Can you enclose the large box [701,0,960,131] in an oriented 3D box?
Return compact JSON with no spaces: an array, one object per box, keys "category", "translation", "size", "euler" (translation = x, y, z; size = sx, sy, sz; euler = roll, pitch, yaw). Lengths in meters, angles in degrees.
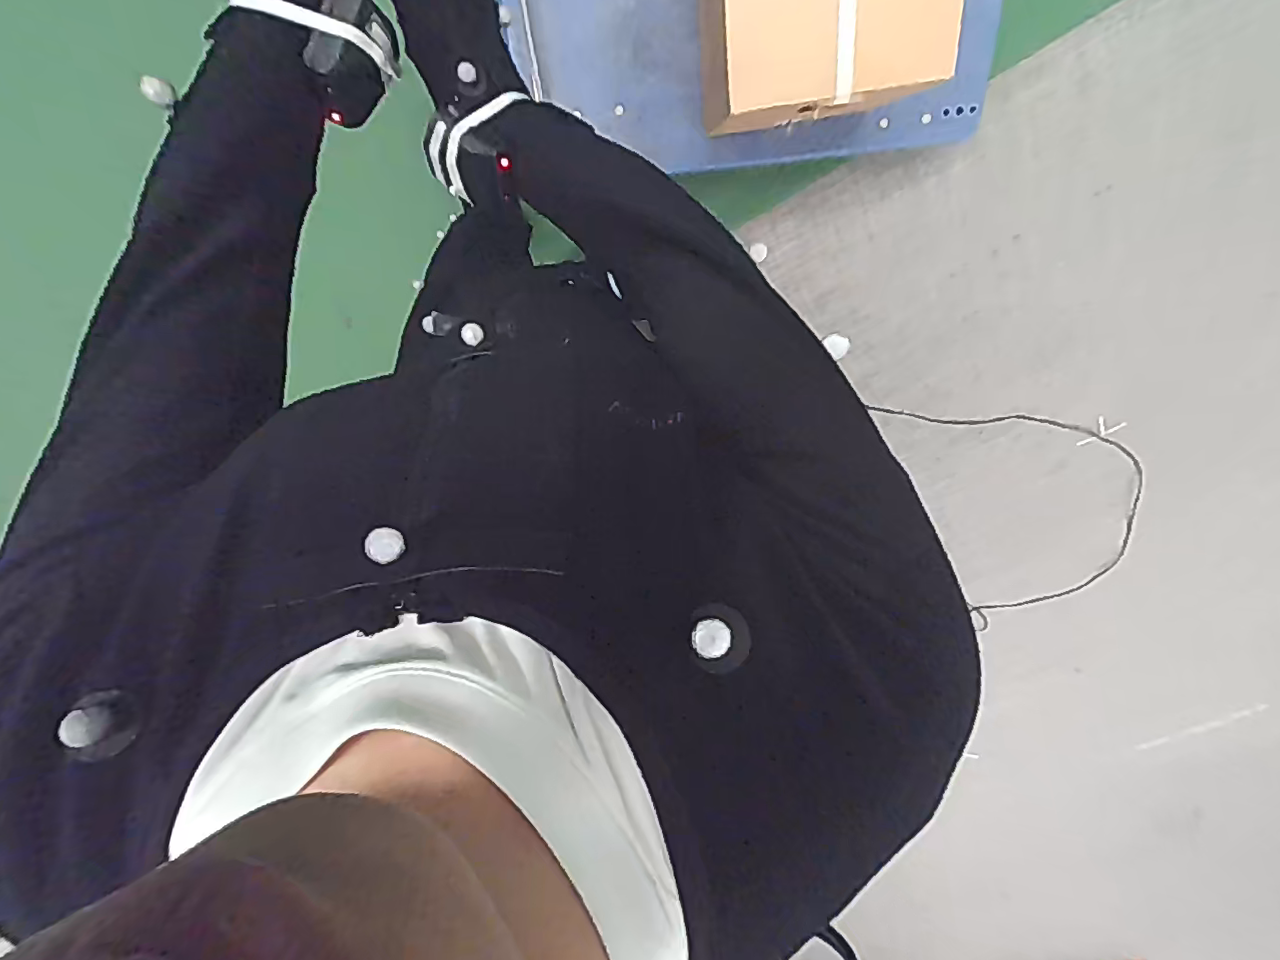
[{"category":"large box","translation":[0.254,-0.791,0.801],"size":[0.320,0.320,0.408],"euler":[-7,117,3]}]
